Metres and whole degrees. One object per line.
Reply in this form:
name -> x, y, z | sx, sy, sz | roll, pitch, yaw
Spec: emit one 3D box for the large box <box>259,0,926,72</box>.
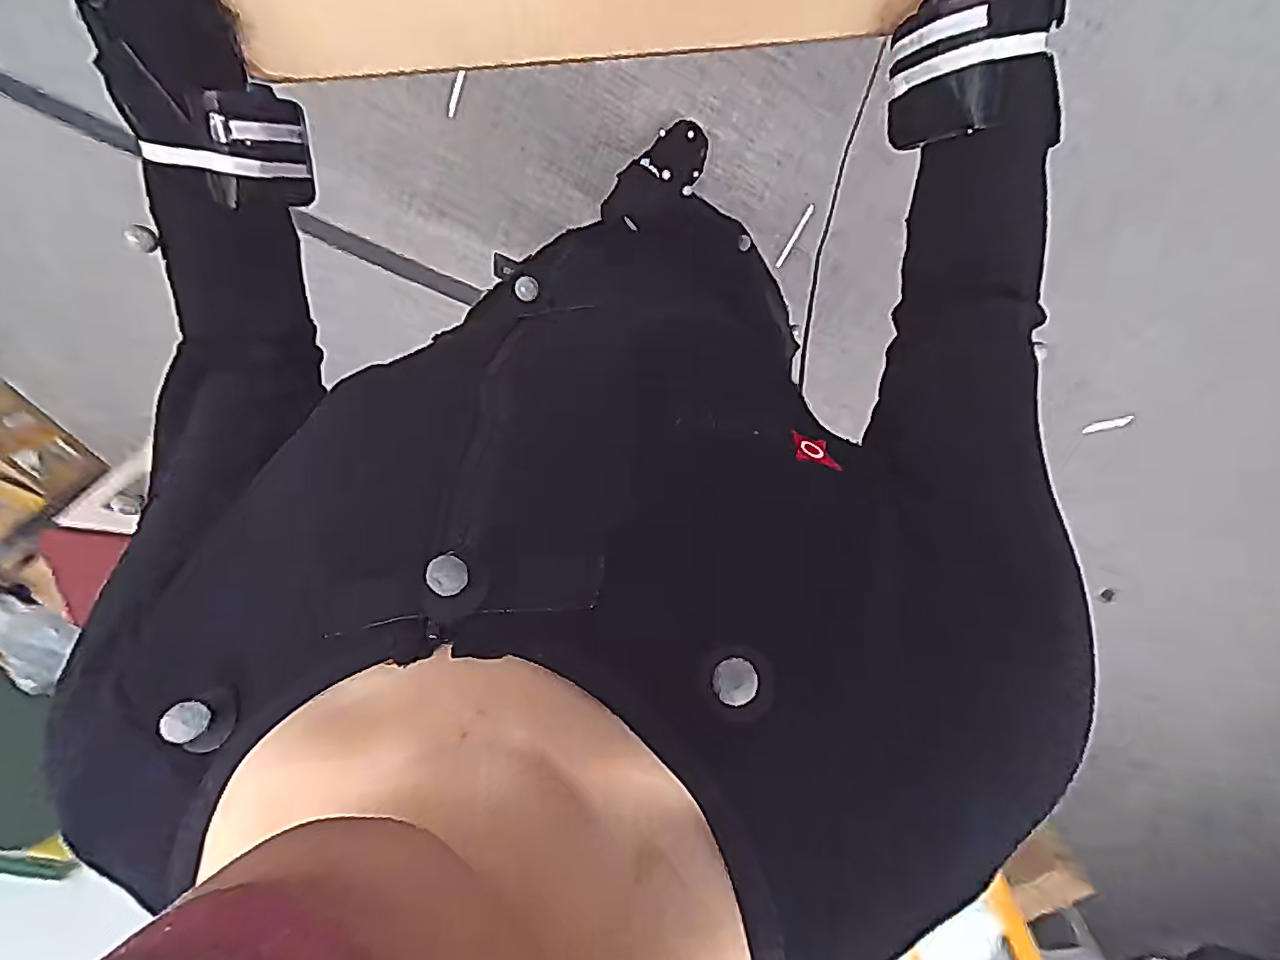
large box -> -0.037, -0.480, 0.353 | 0.408, 0.320, 0.320 | -3, 130, 1
